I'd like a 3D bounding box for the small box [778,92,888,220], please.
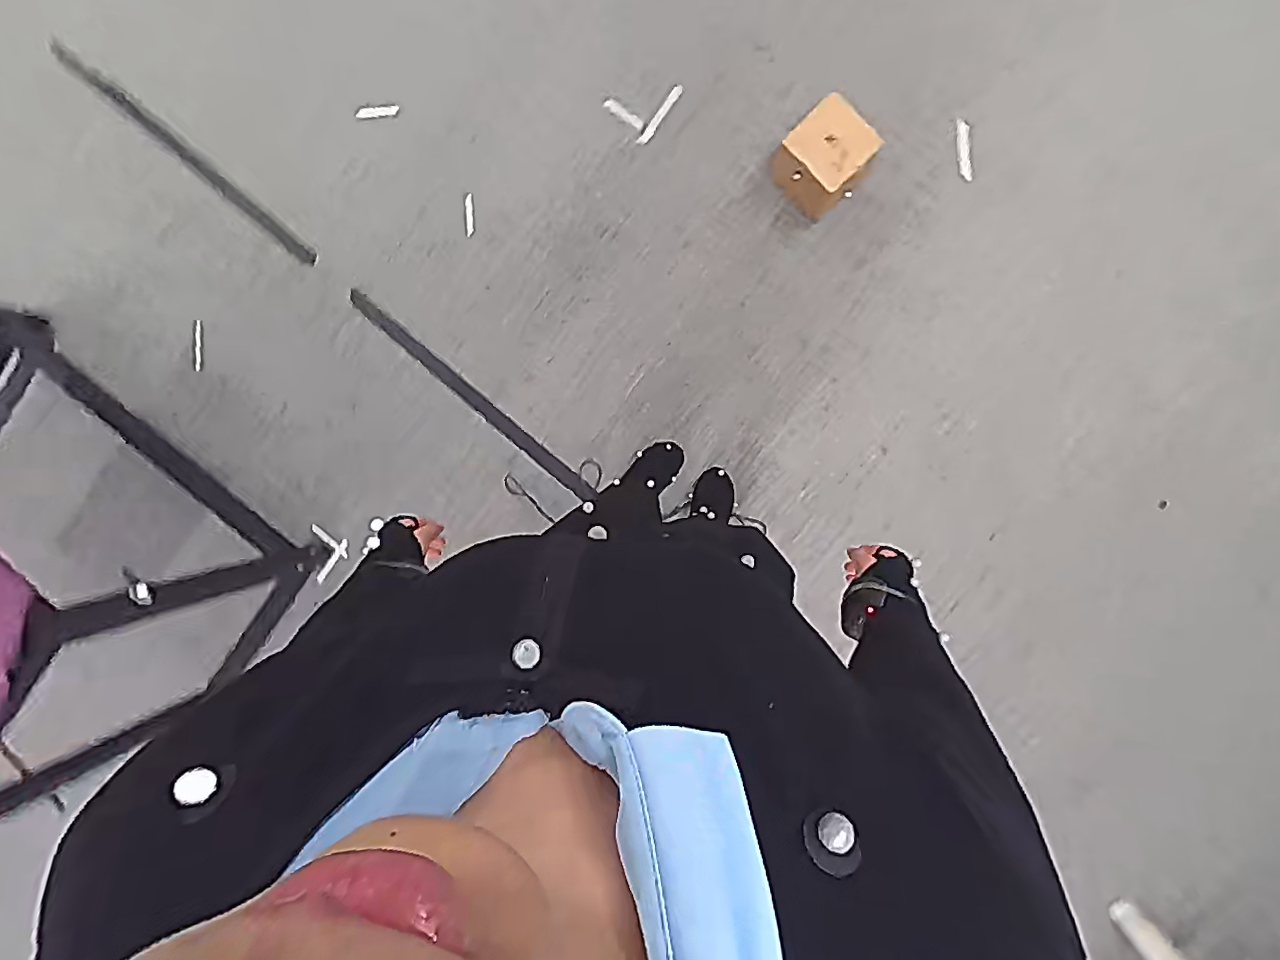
[{"bbox_3d":[0.464,-0.787,1.336,0.168,0.176,0.179,-42,89,6],"label":"small box"}]
